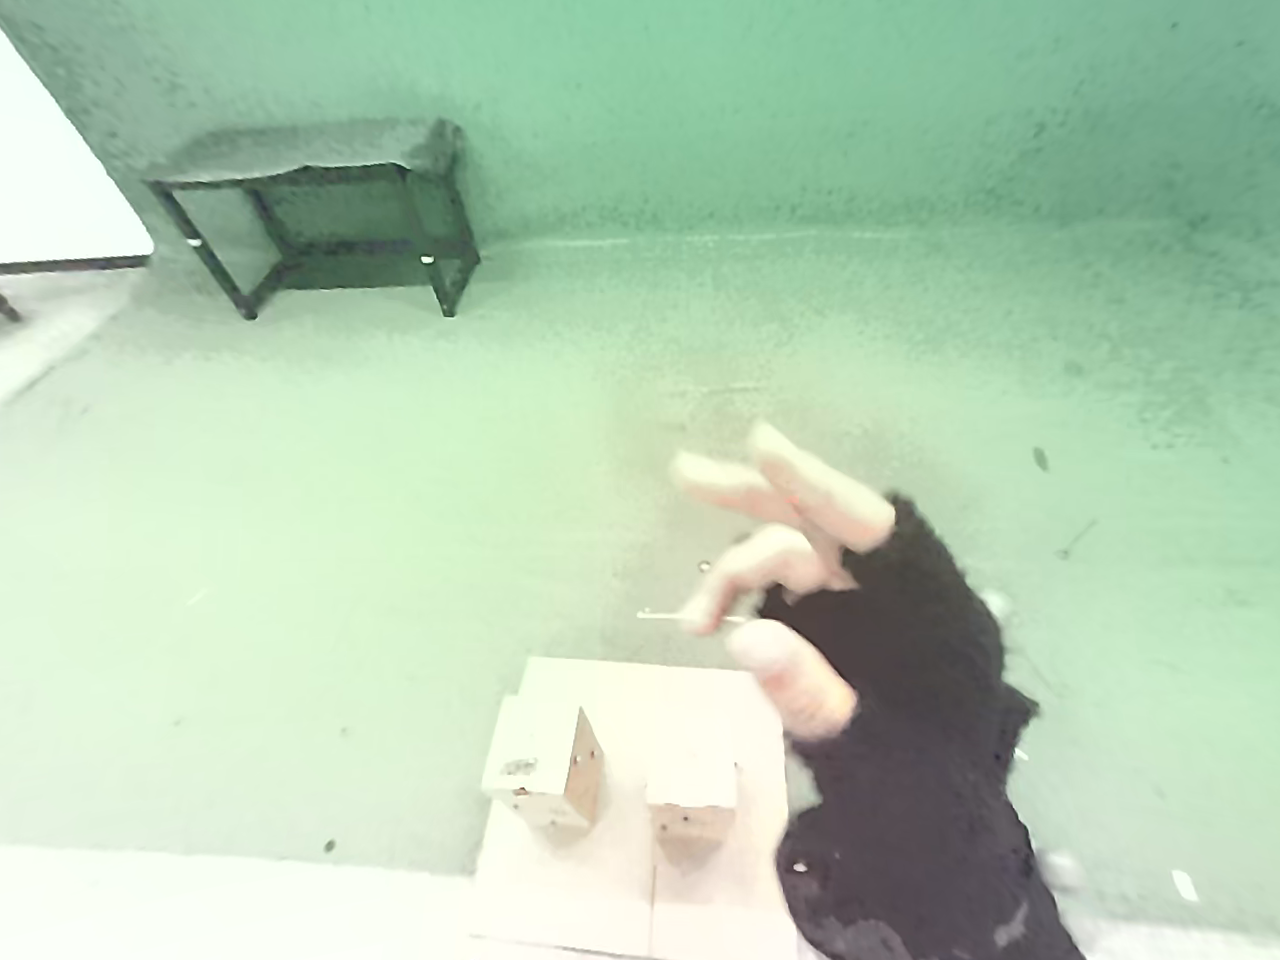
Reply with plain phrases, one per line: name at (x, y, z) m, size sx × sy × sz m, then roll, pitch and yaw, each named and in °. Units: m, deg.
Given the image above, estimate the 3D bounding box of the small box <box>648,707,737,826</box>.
small box at (0.105, 0.580, 1.095) m, size 0.168 × 0.176 × 0.179 m, roll -1°, pitch 48°, yaw 5°

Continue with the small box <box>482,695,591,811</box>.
small box at (-0.204, 0.573, 1.129) m, size 0.168 × 0.176 × 0.179 m, roll 1°, pitch 47°, yaw 8°

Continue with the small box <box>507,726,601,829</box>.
small box at (-0.188, 0.683, 1.250) m, size 0.168 × 0.176 × 0.179 m, roll -1°, pitch 48°, yaw 7°
